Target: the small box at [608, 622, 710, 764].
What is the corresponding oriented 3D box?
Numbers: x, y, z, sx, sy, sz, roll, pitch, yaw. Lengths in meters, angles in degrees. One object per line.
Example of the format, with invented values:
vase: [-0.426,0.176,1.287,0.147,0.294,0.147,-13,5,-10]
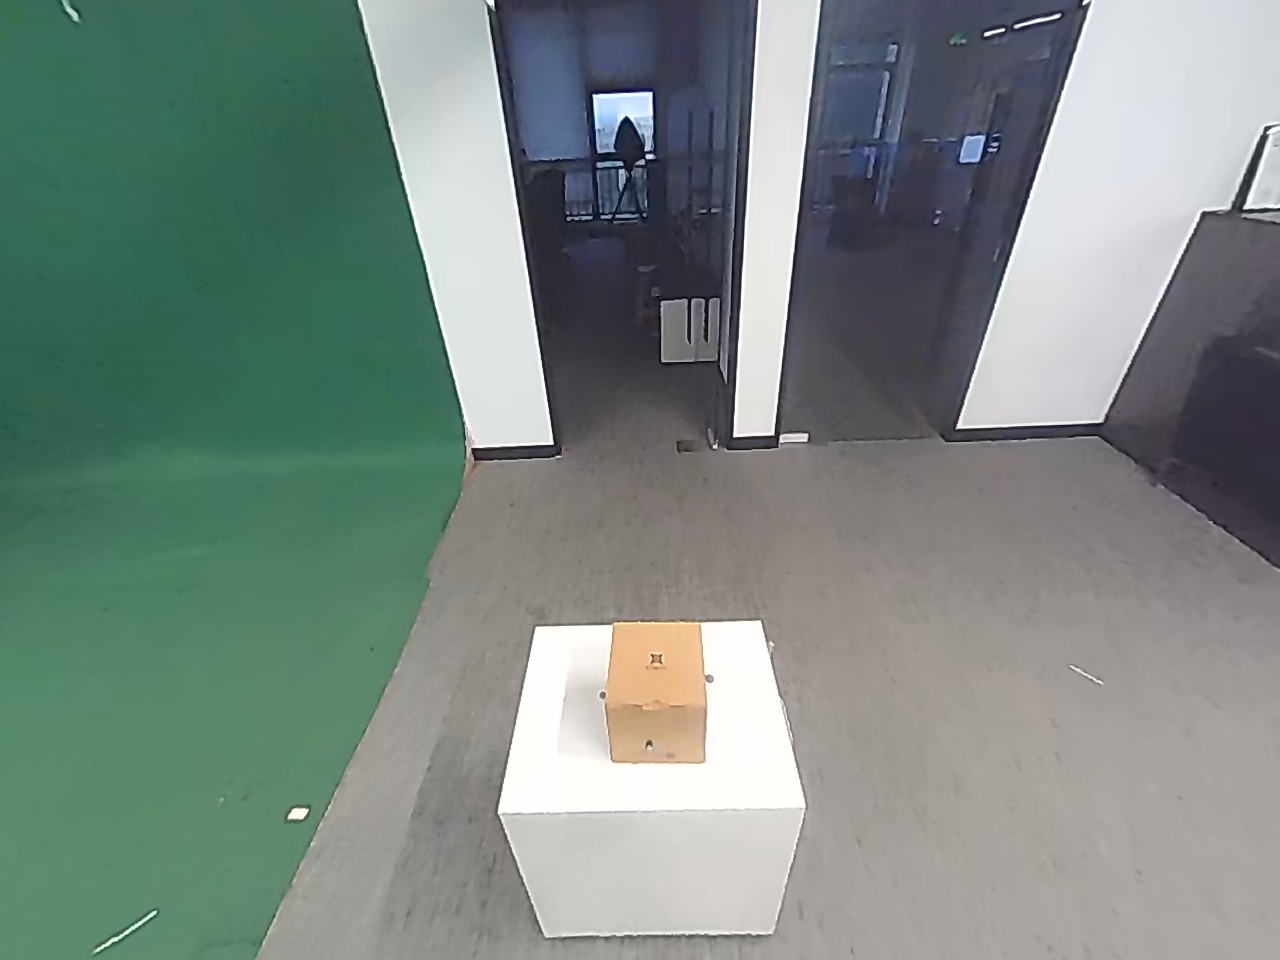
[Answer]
small box: [0.034,0.378,0.970,0.168,0.176,0.179,-1,33,3]
